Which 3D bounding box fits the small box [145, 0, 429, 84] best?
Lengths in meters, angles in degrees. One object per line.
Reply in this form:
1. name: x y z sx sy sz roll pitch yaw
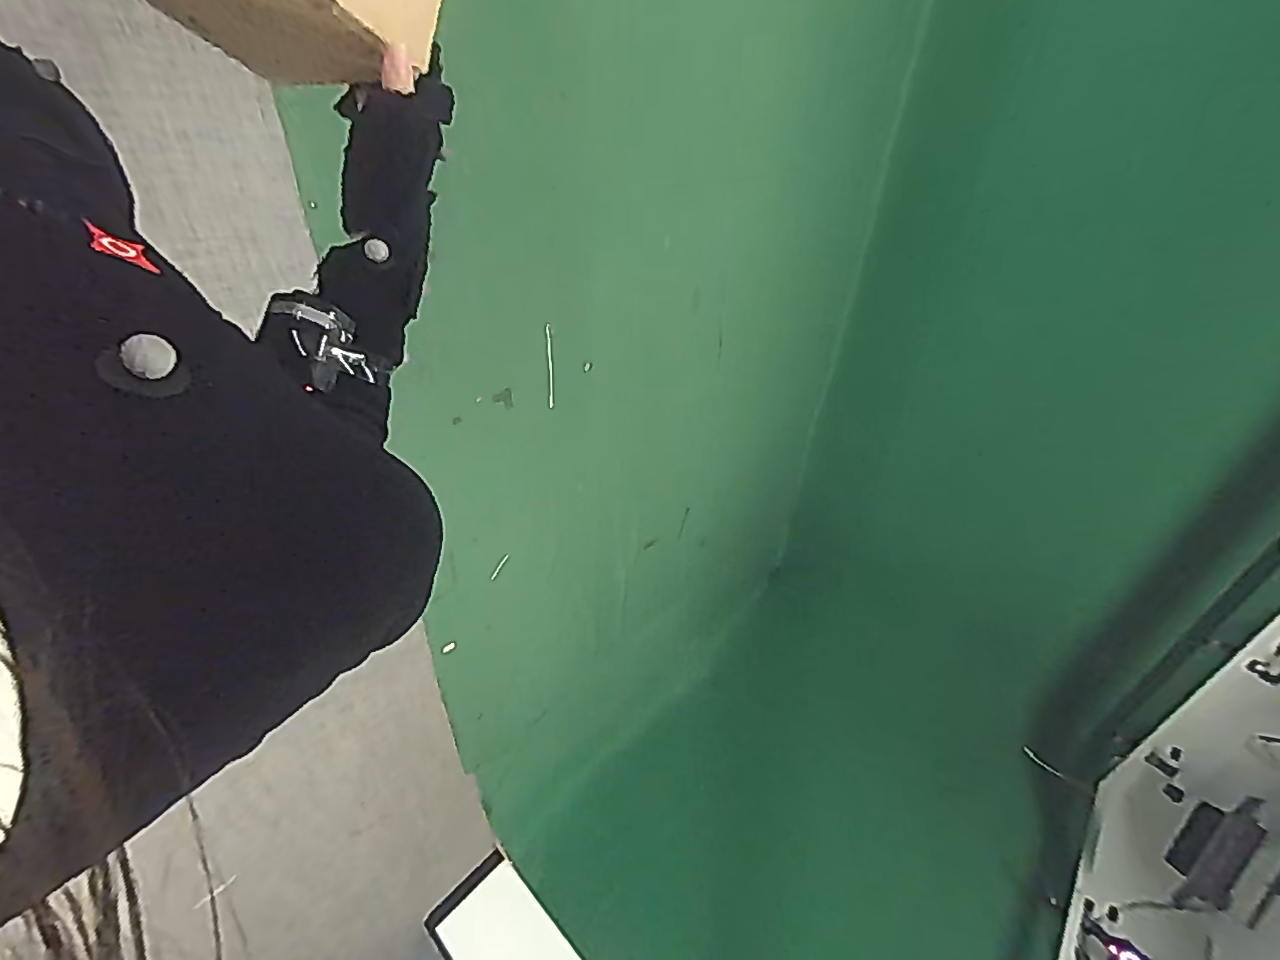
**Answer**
1. small box: -0.233 -0.364 0.307 0.168 0.176 0.179 4 102 -65
